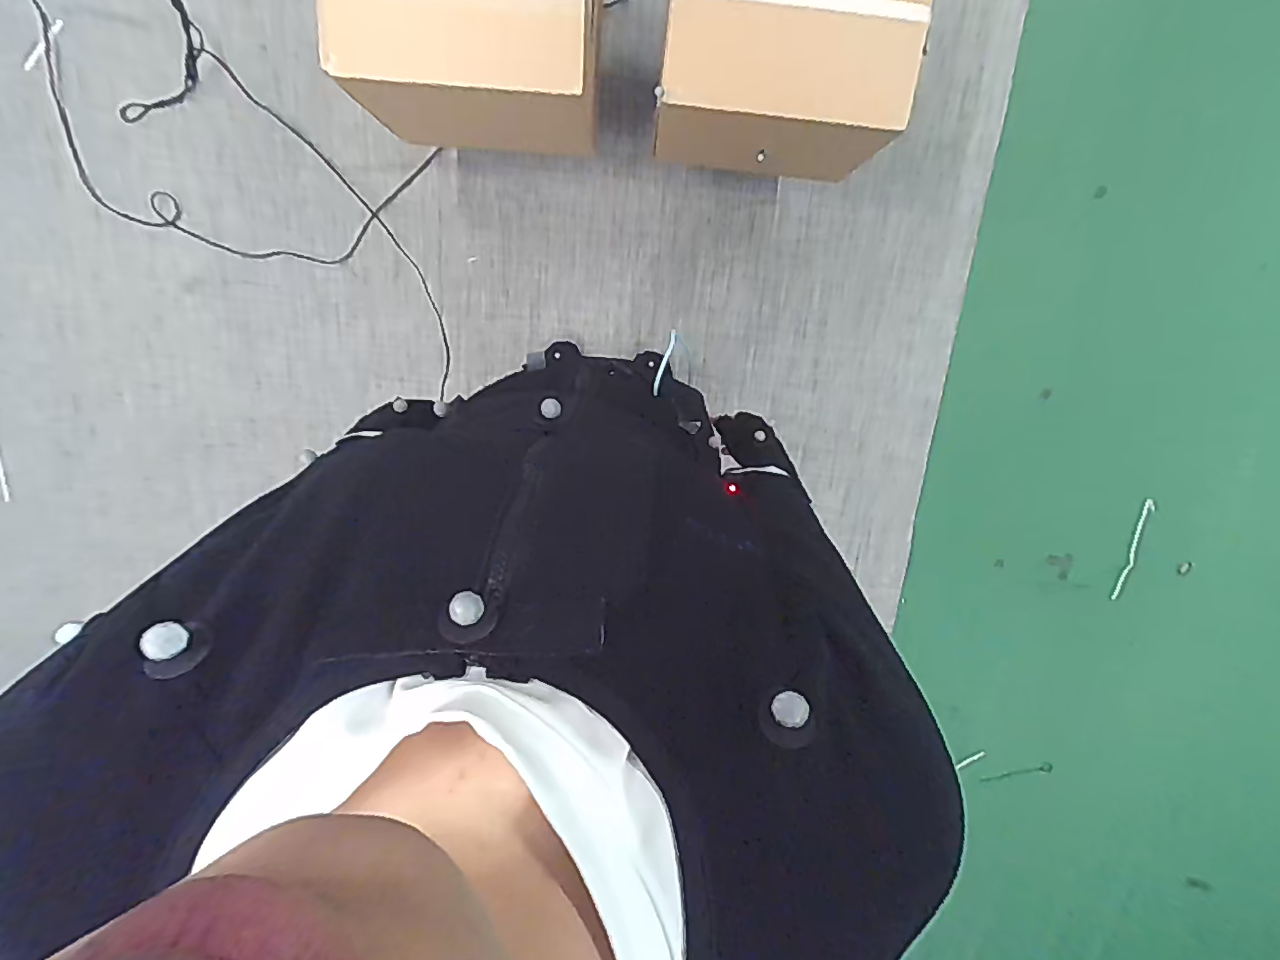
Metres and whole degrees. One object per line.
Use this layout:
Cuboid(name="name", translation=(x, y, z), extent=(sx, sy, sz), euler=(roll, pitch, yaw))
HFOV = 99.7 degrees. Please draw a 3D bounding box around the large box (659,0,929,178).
Cuboid(name="large box", translation=(0.253, -0.778, 0.991), extent=(0.408, 0.320, 0.320), euler=(6, 105, -2))
